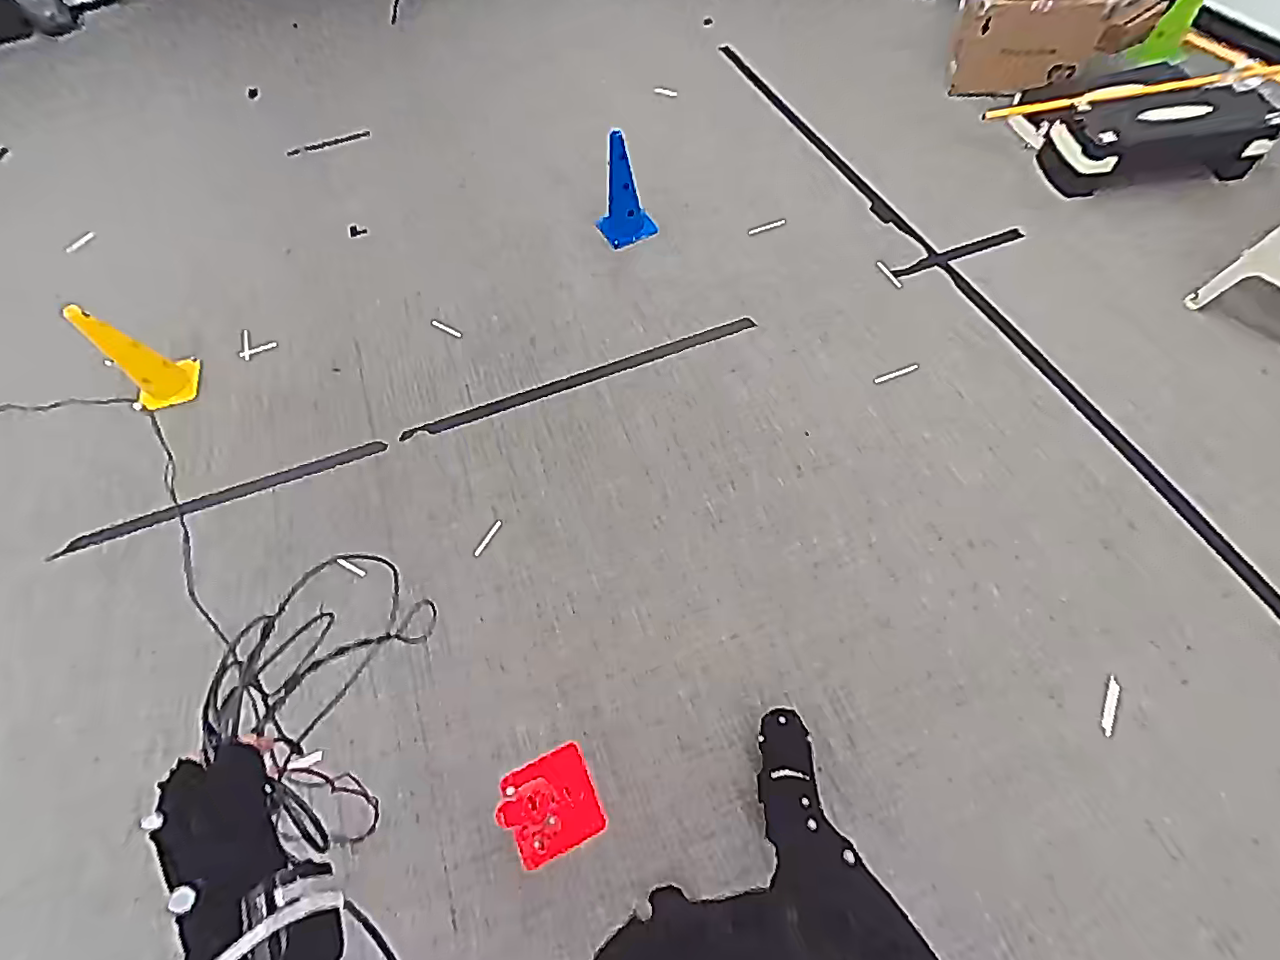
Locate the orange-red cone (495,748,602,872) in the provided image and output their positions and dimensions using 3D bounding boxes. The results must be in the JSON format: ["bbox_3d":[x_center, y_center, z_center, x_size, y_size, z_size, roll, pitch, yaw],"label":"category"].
[{"bbox_3d":[-0.214,0.651,1.061,0.199,0.360,0.198,-24,63,-9],"label":"orange-red cone"}]

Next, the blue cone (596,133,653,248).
[{"bbox_3d":[-0.078,-1.073,1.980,0.193,0.380,0.192,-25,63,-8],"label":"blue cone"}]
